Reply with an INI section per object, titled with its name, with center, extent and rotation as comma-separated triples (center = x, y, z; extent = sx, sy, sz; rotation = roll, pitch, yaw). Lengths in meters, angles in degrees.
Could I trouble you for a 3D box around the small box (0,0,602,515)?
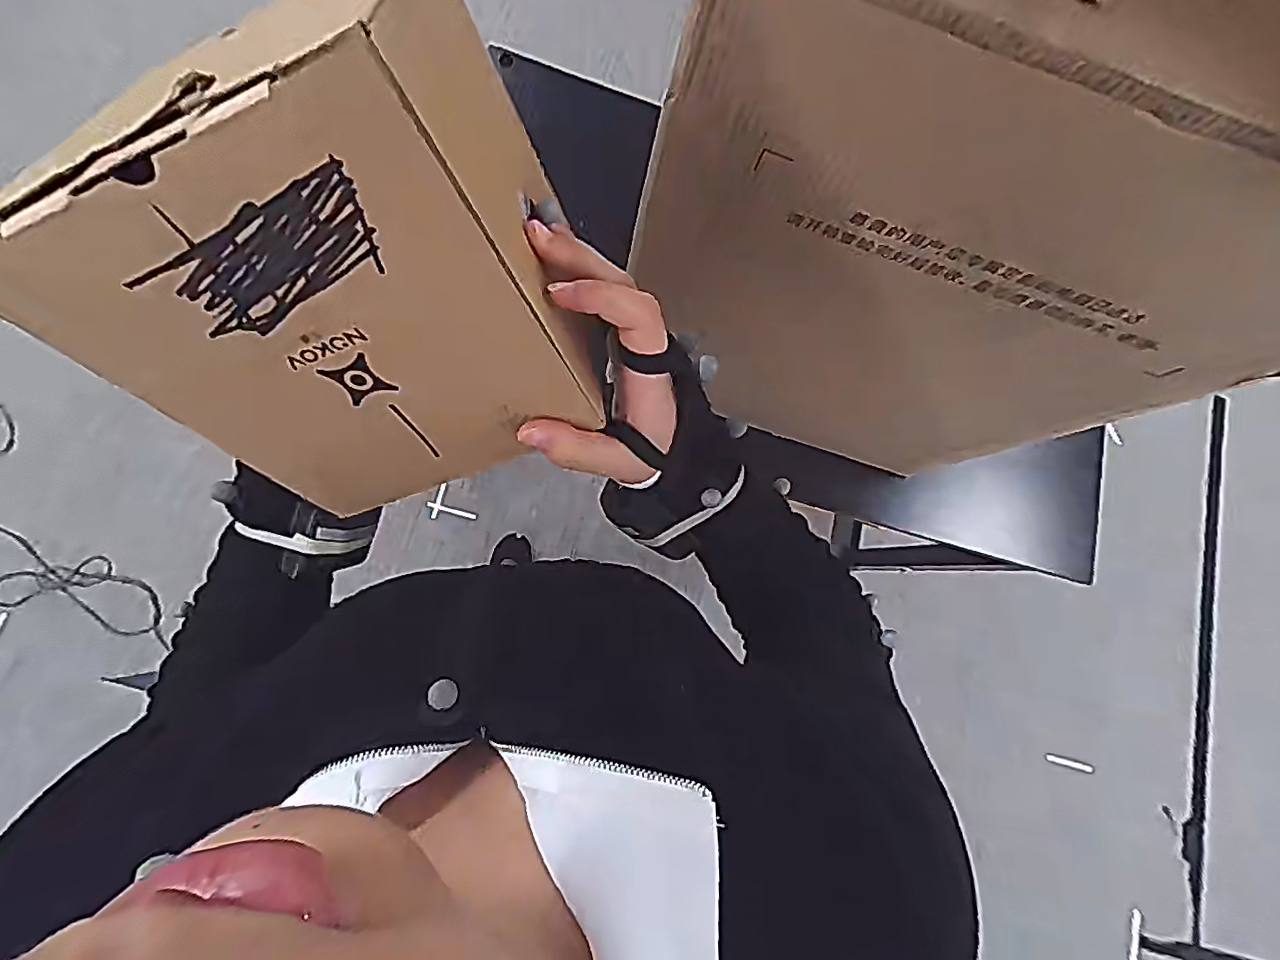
[small box]
center = -0.133, -0.115, 0.273
extent = 0.168, 0.179, 0.176
rotation = -18, 52, 9
